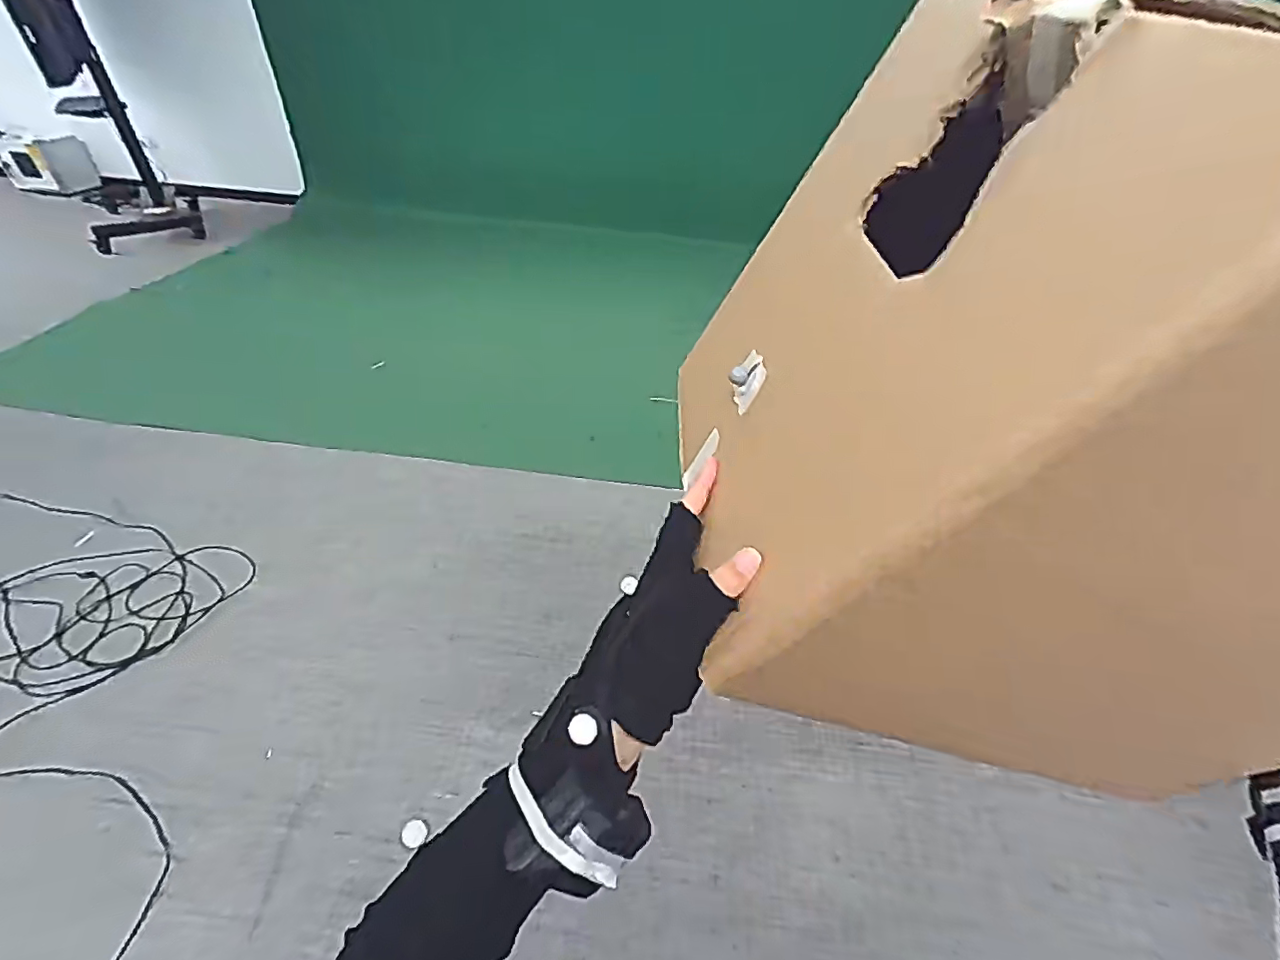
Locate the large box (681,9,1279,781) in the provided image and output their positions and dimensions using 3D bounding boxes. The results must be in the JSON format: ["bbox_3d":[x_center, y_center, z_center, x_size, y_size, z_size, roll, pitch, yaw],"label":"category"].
[{"bbox_3d":[0.279,-0.023,0.377,0.408,0.320,0.320,21,42,-18],"label":"large box"}]
